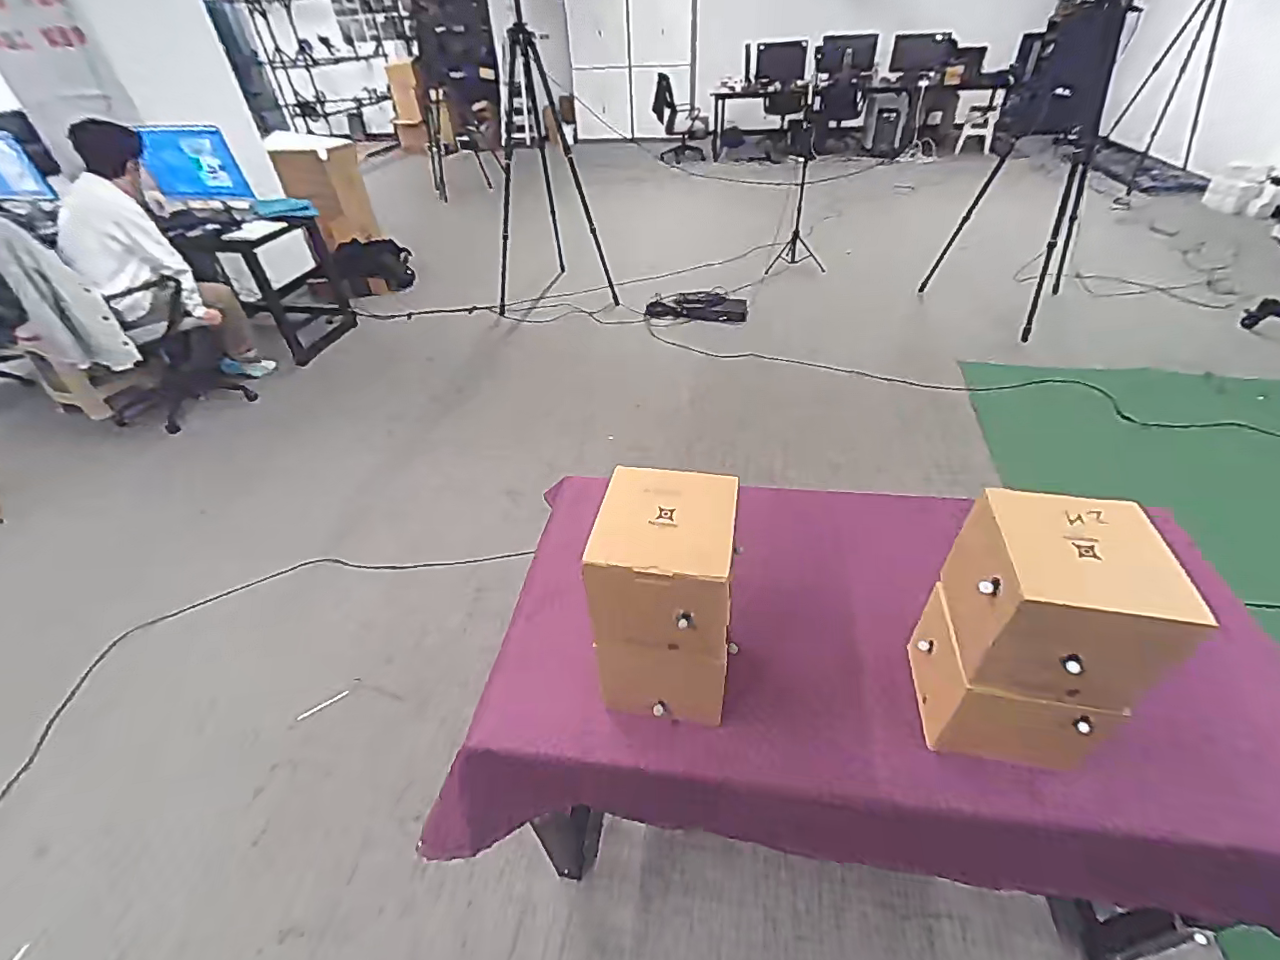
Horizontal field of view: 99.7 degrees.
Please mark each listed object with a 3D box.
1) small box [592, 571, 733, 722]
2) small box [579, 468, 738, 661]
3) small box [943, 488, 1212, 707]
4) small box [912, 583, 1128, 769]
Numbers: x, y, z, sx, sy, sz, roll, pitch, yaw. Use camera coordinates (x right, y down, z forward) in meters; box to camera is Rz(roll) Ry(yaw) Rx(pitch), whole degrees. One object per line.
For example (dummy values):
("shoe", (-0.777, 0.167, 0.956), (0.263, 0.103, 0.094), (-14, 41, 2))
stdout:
("small box", (0.040, 0.236, 0.802), (0.179, 0.176, 0.168), (5, 41, 10))
("small box", (0.033, 0.108, 0.700), (0.168, 0.176, 0.179), (6, 41, 11))
("small box", (0.478, 0.135, 0.630), (0.168, 0.176, 0.179), (7, 41, 12))
("small box", (0.486, 0.264, 0.732), (0.179, 0.176, 0.168), (5, 41, 10))
